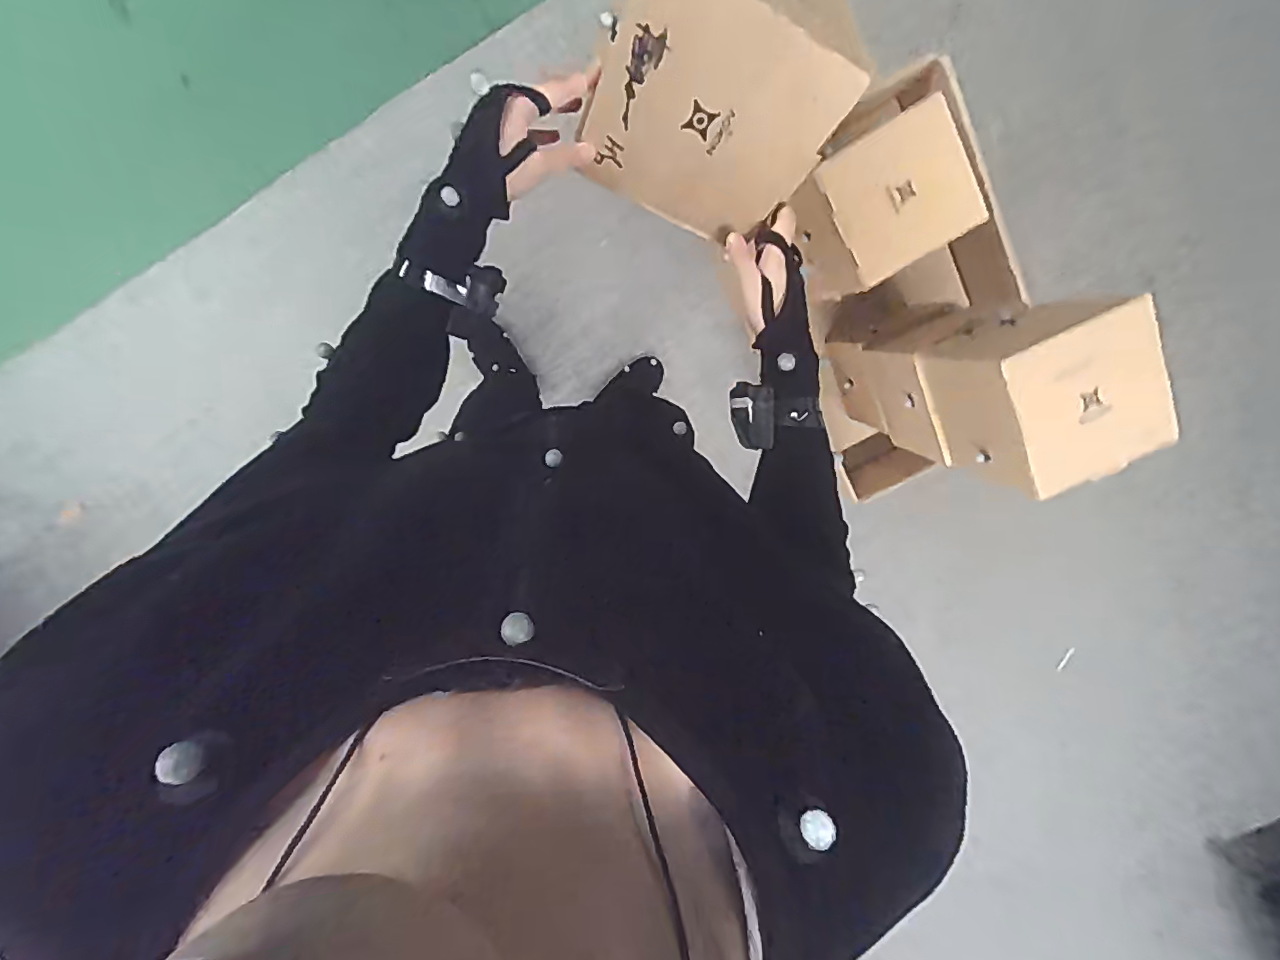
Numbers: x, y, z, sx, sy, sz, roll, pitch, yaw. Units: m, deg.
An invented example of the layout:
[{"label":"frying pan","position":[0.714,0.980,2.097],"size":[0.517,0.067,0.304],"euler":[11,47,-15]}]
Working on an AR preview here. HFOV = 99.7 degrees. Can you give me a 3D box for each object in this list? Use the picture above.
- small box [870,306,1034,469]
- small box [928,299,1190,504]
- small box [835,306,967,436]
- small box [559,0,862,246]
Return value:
[{"label":"small box","position":[0.474,-0.140,0.809],"size":[0.168,0.176,0.179],"euler":[-24,104,6]},{"label":"small box","position":[0.486,-0.099,0.651],"size":[0.168,0.176,0.179],"euler":[-24,103,5]},{"label":"small box","position":[0.468,-0.194,0.964],"size":[0.179,0.176,0.168],"euler":[-22,104,5]},{"label":"small box","position":[0.049,-0.343,0.450],"size":[0.179,0.176,0.168],"euler":[16,145,-20]}]
